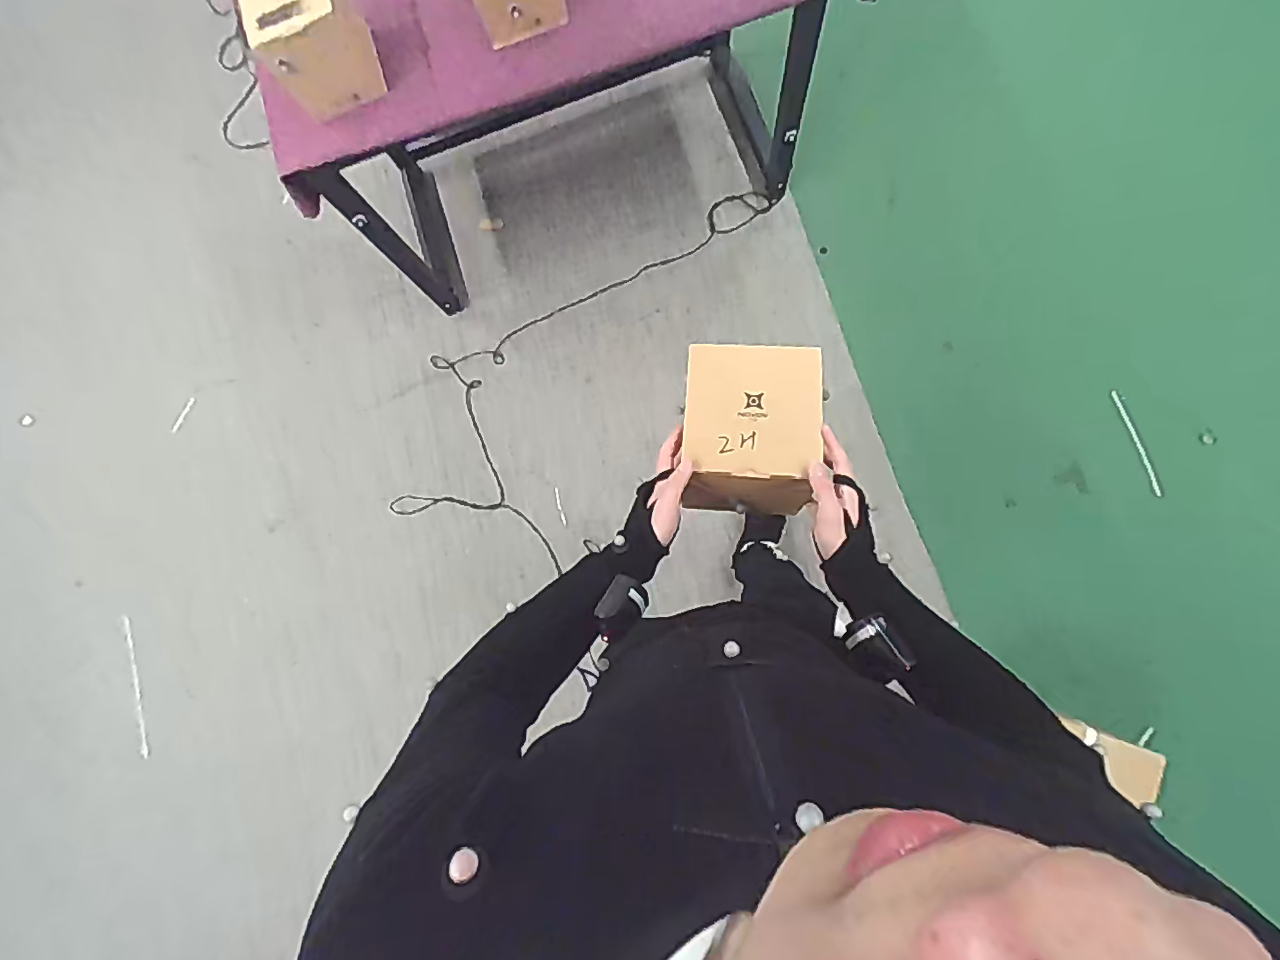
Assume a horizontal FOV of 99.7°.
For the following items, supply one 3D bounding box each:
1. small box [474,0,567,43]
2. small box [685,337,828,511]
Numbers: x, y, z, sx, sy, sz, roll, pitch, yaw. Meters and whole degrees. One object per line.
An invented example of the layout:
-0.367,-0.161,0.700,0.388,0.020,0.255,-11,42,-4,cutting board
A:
-0.250,-0.984,1.014,0.168,0.176,0.179,-16,80,4,small box
0.148,-0.069,0.726,0.168,0.176,0.179,4,72,7,small box
